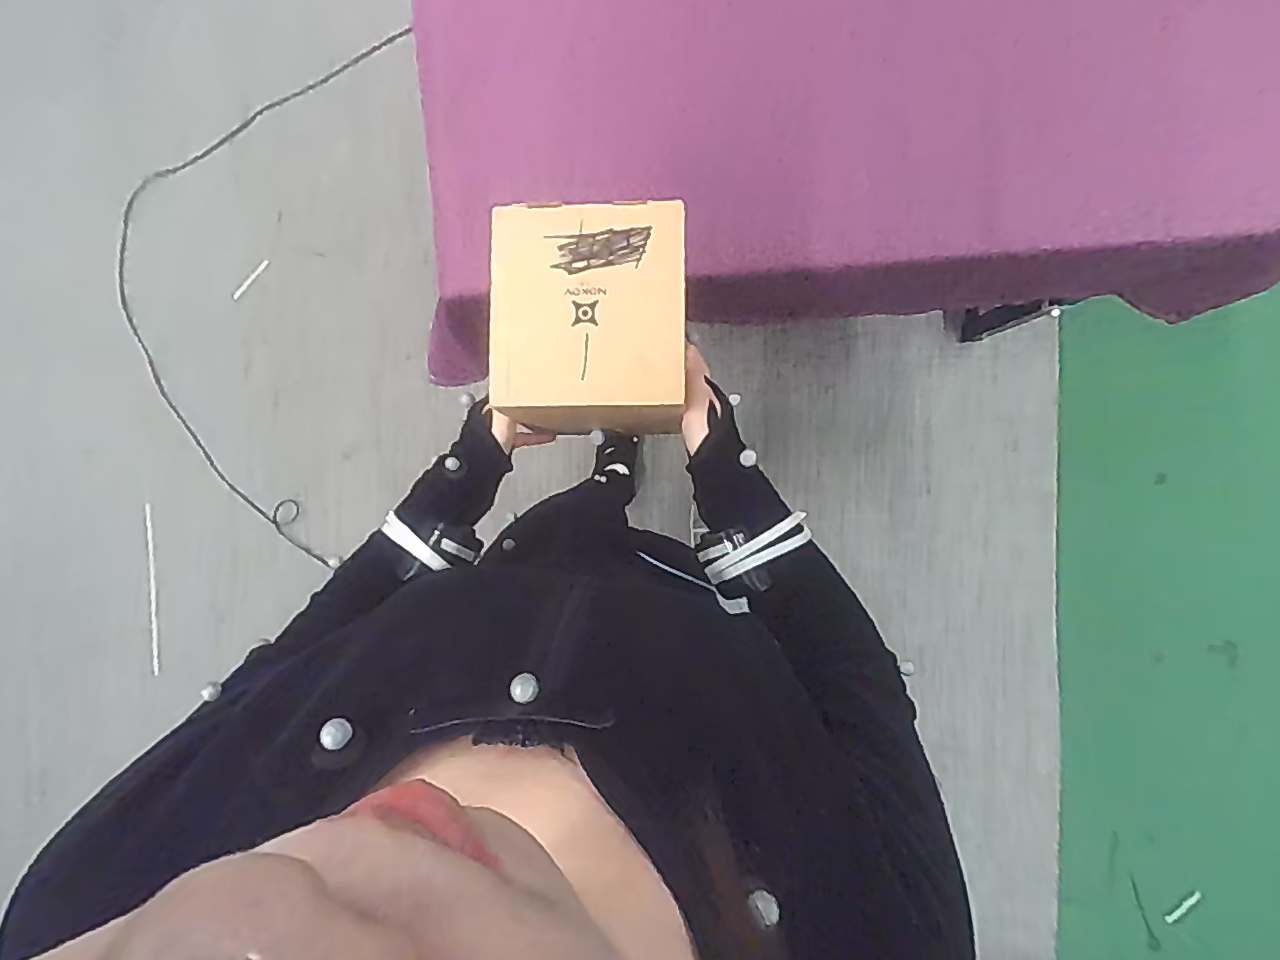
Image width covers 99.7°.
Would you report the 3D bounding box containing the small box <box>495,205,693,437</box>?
[{"bbox_3d":[-0.035,-0.143,0.536,0.168,0.176,0.179,1,87,4],"label":"small box"}]
